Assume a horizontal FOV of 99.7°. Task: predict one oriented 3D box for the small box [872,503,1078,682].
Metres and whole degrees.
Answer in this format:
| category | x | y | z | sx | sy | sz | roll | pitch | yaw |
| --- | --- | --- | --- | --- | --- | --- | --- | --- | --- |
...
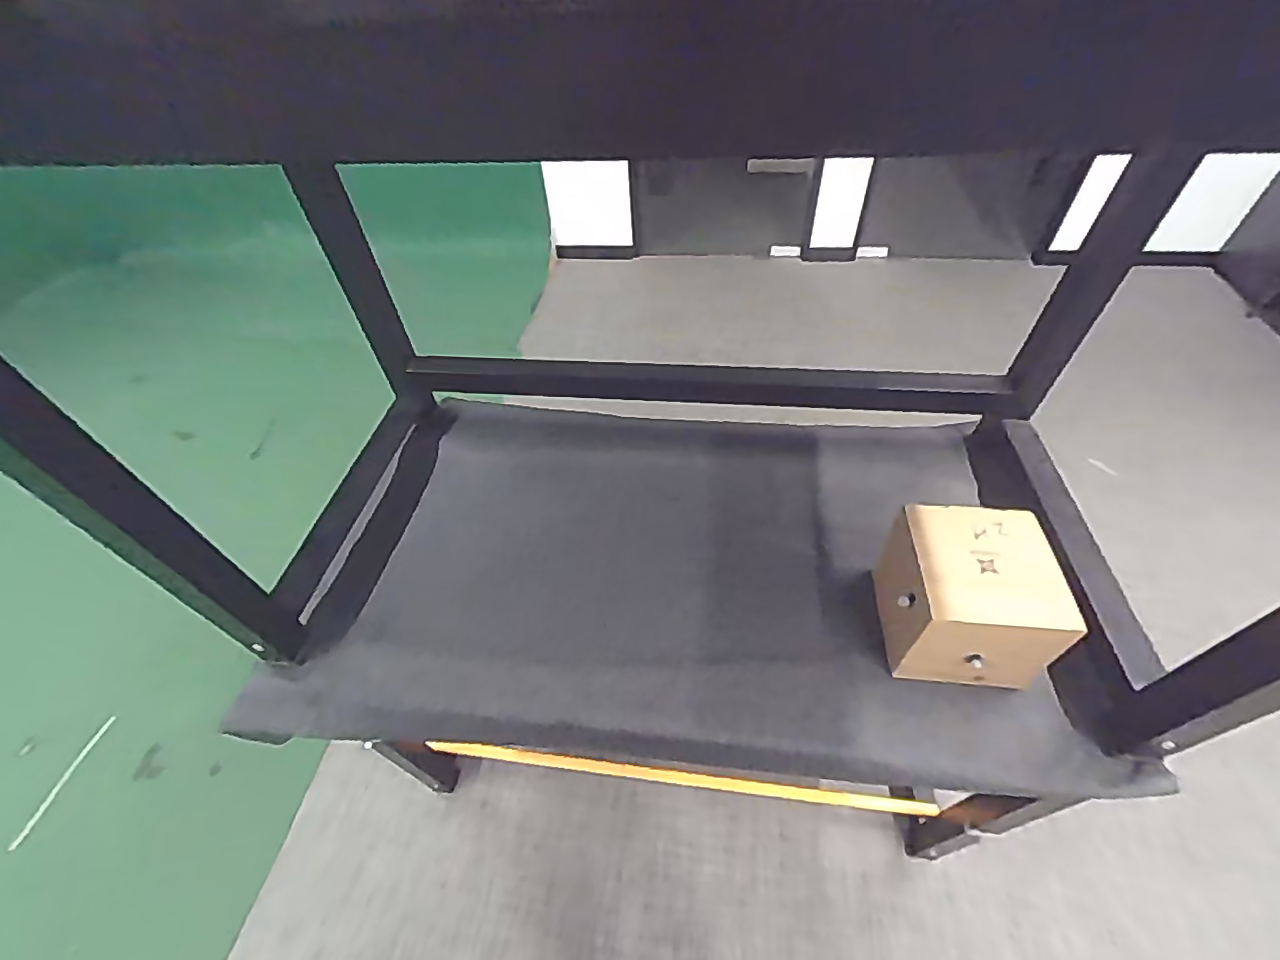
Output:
| category | x | y | z | sx | sy | sz | roll | pitch | yaw |
| --- | --- | --- | --- | --- | --- | --- | --- | --- | --- |
| small box | 0.428 | 0.154 | 0.730 | 0.168 | 0.176 | 0.179 | 3 | 48 | 7 |
